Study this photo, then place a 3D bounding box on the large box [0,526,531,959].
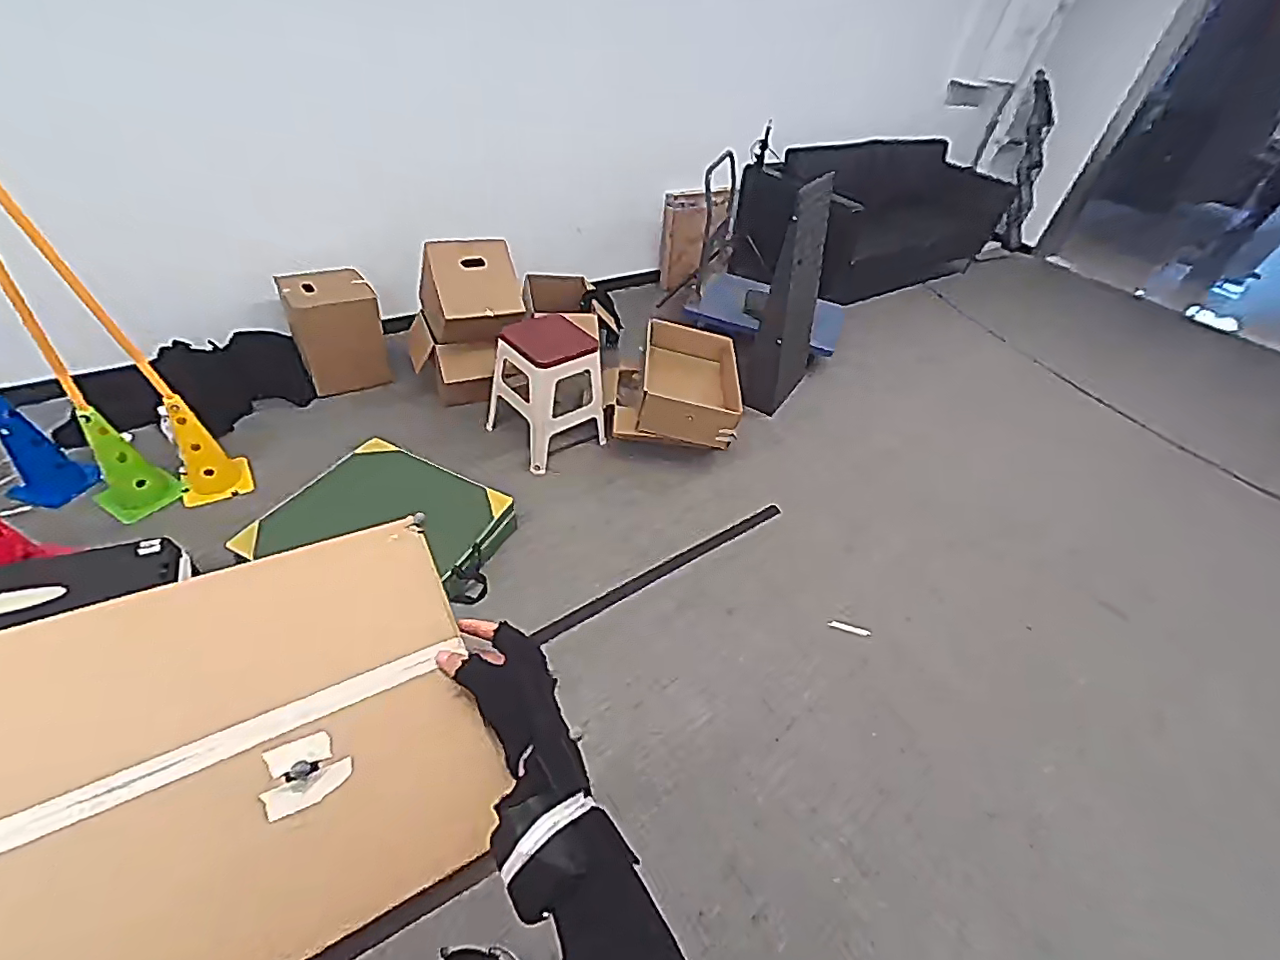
[{"bbox_3d":[-0.363,0.304,0.524,0.408,0.320,0.320,-16,59,-29],"label":"large box"}]
